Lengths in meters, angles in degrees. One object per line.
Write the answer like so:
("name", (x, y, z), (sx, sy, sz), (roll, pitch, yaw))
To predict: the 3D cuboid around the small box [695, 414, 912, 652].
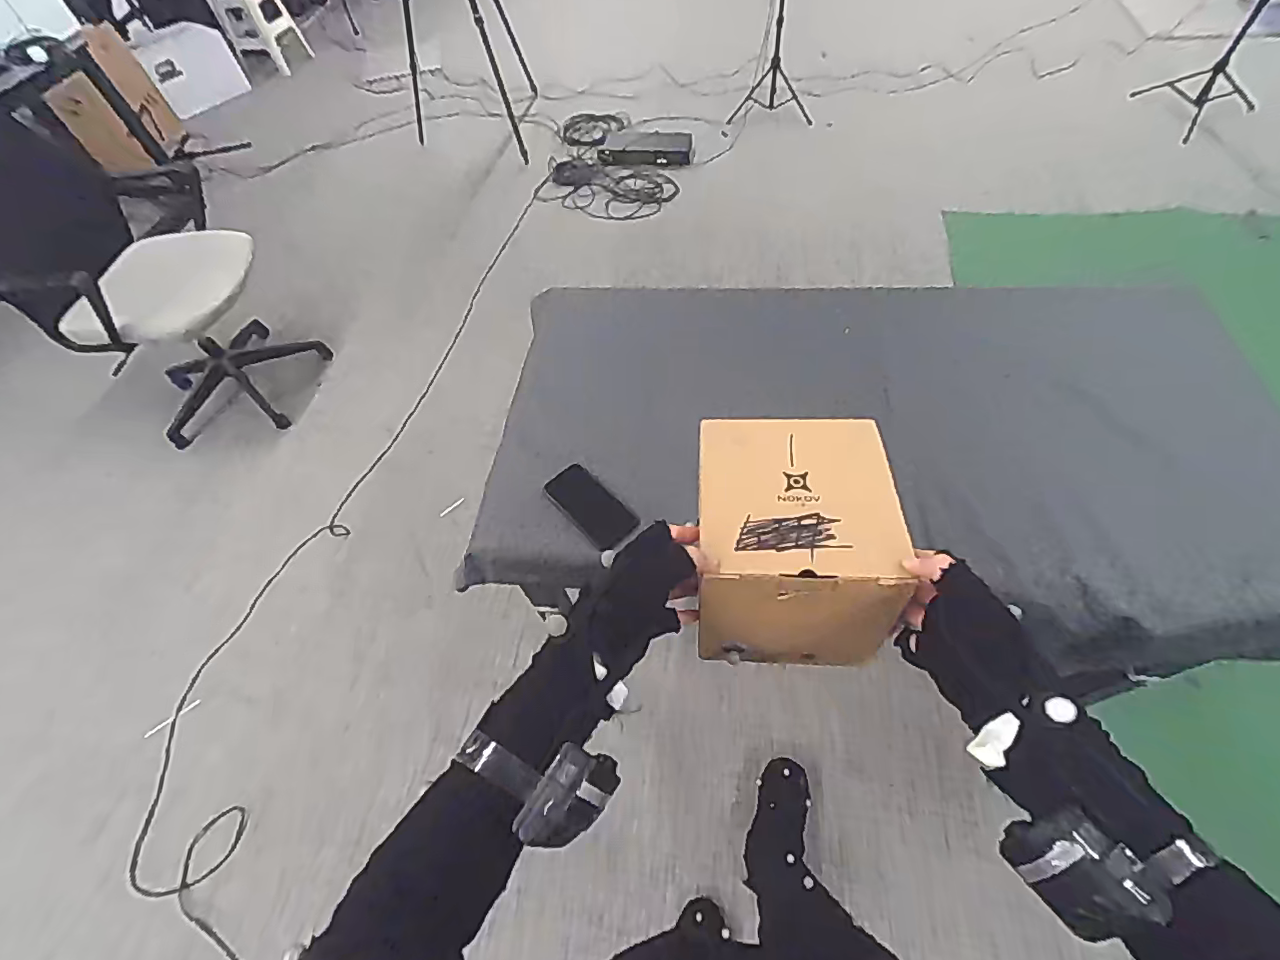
("small box", (0.140, 0.055, 0.532), (0.168, 0.176, 0.179), (1, 50, 5))
